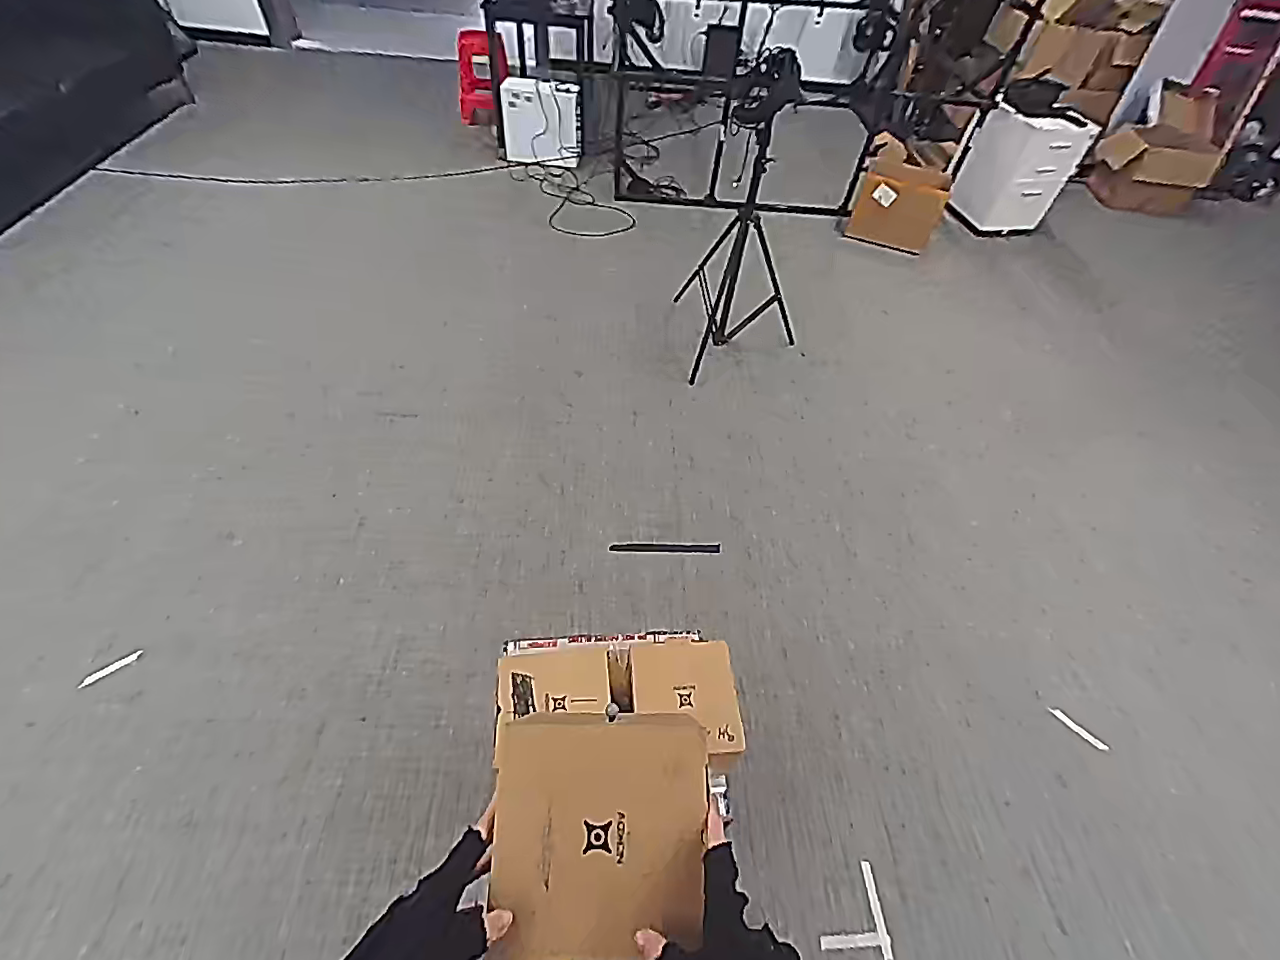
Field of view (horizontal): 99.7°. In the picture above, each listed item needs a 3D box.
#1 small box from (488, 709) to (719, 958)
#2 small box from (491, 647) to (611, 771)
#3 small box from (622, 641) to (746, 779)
[{"bbox_3d":[-0.029,0.307,0.507,0.179,0.176,0.168,-1,69,-1],"label":"small box"},{"bbox_3d":[-0.135,0.391,0.877,0.179,0.176,0.168,-4,50,-7],"label":"small box"},{"bbox_3d":[0.061,0.386,0.901,0.168,0.176,0.179,1,49,-7],"label":"small box"}]
